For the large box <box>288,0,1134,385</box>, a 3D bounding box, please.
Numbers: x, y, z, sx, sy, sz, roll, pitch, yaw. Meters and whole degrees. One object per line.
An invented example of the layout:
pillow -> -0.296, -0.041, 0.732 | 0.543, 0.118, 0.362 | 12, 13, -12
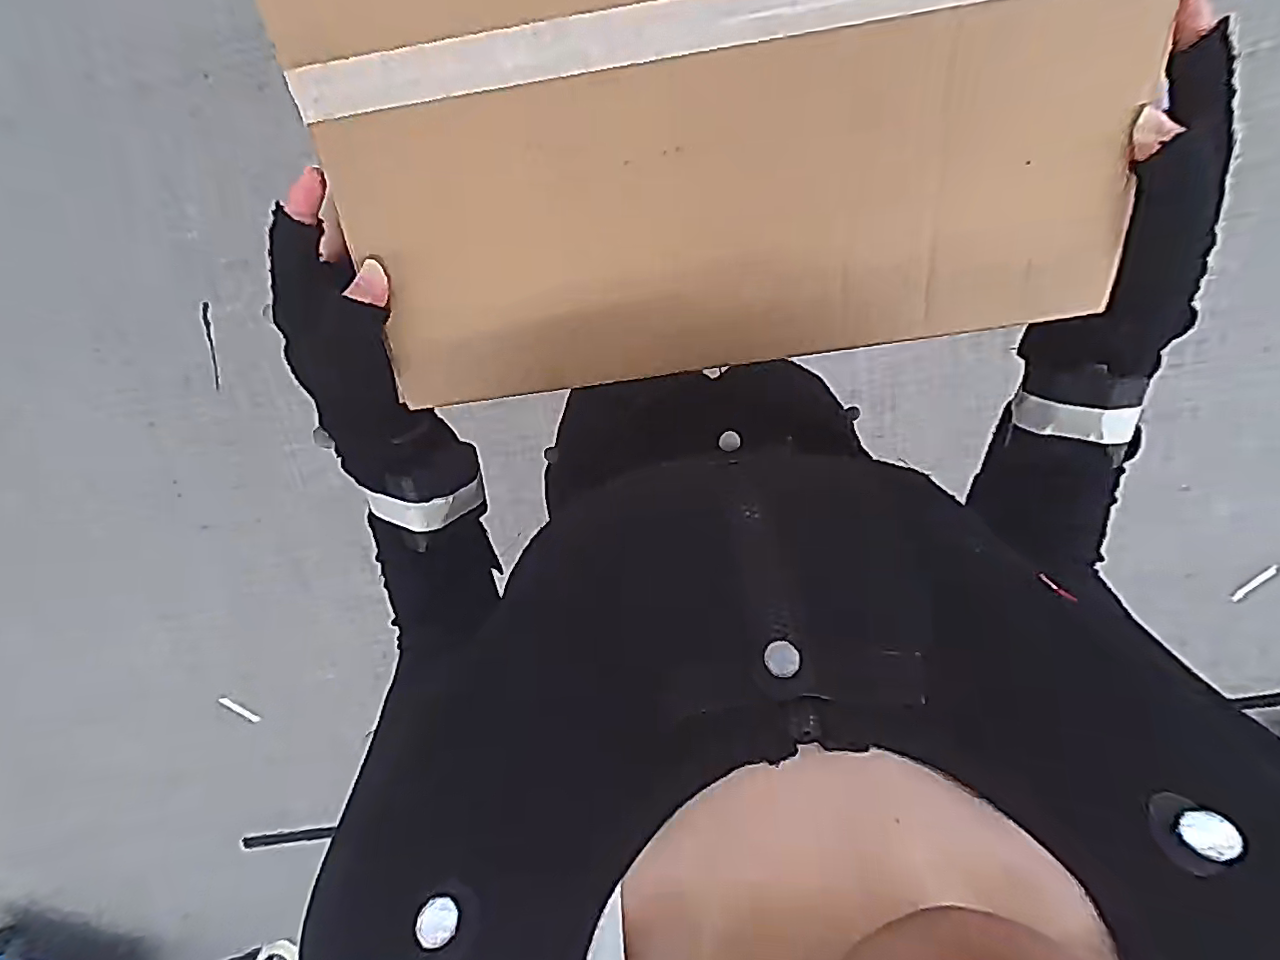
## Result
large box -> 0.032, -0.285, 0.393 | 0.408, 0.320, 0.320 | -8, 116, 3
